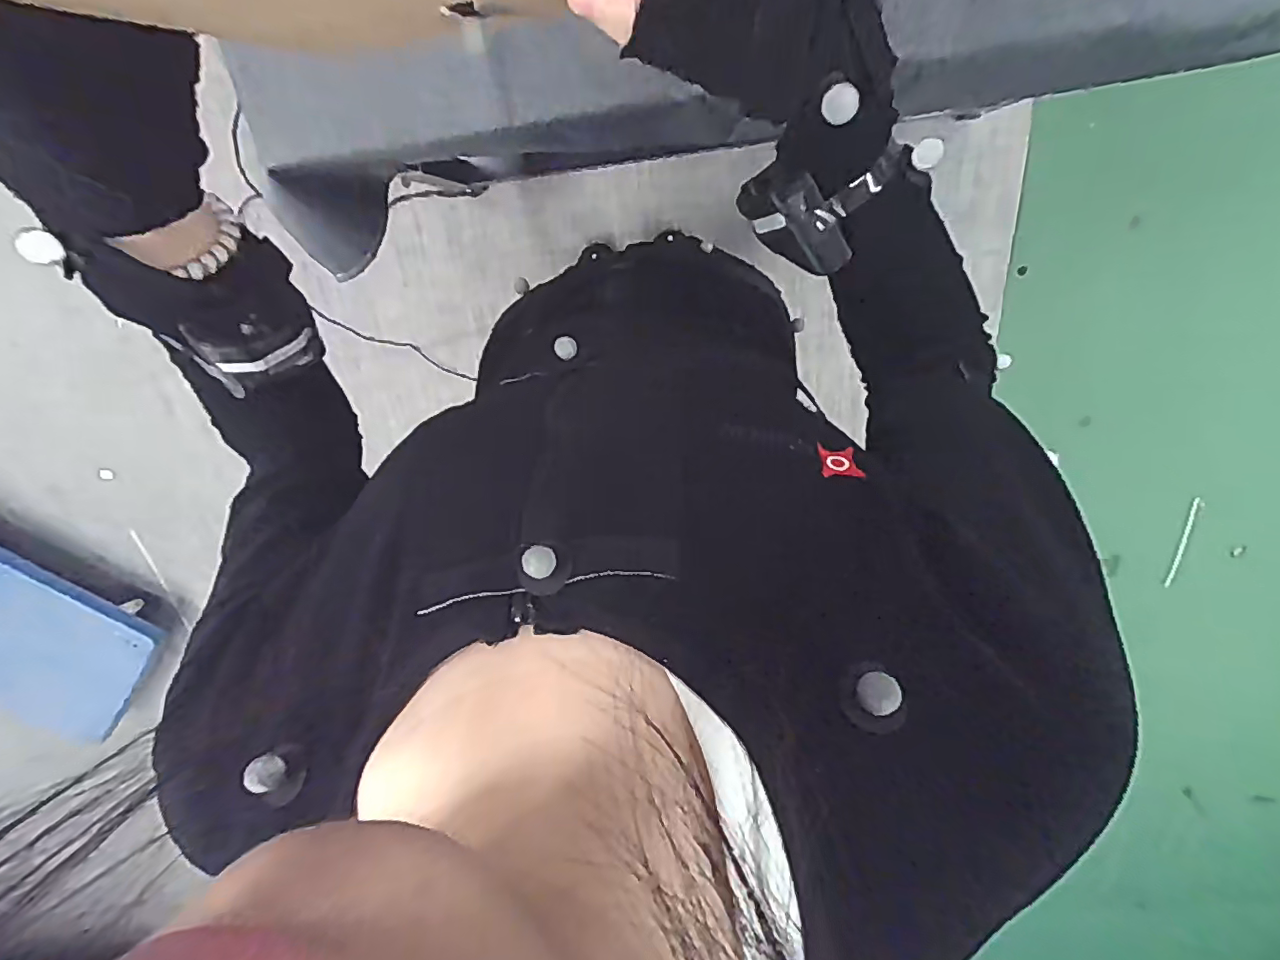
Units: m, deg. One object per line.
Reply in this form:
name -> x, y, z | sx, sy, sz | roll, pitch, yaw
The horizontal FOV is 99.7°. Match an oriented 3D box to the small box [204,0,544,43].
small box -> -0.091, -0.248, 0.149 | 0.179, 0.176, 0.168 | 1, 122, 14
